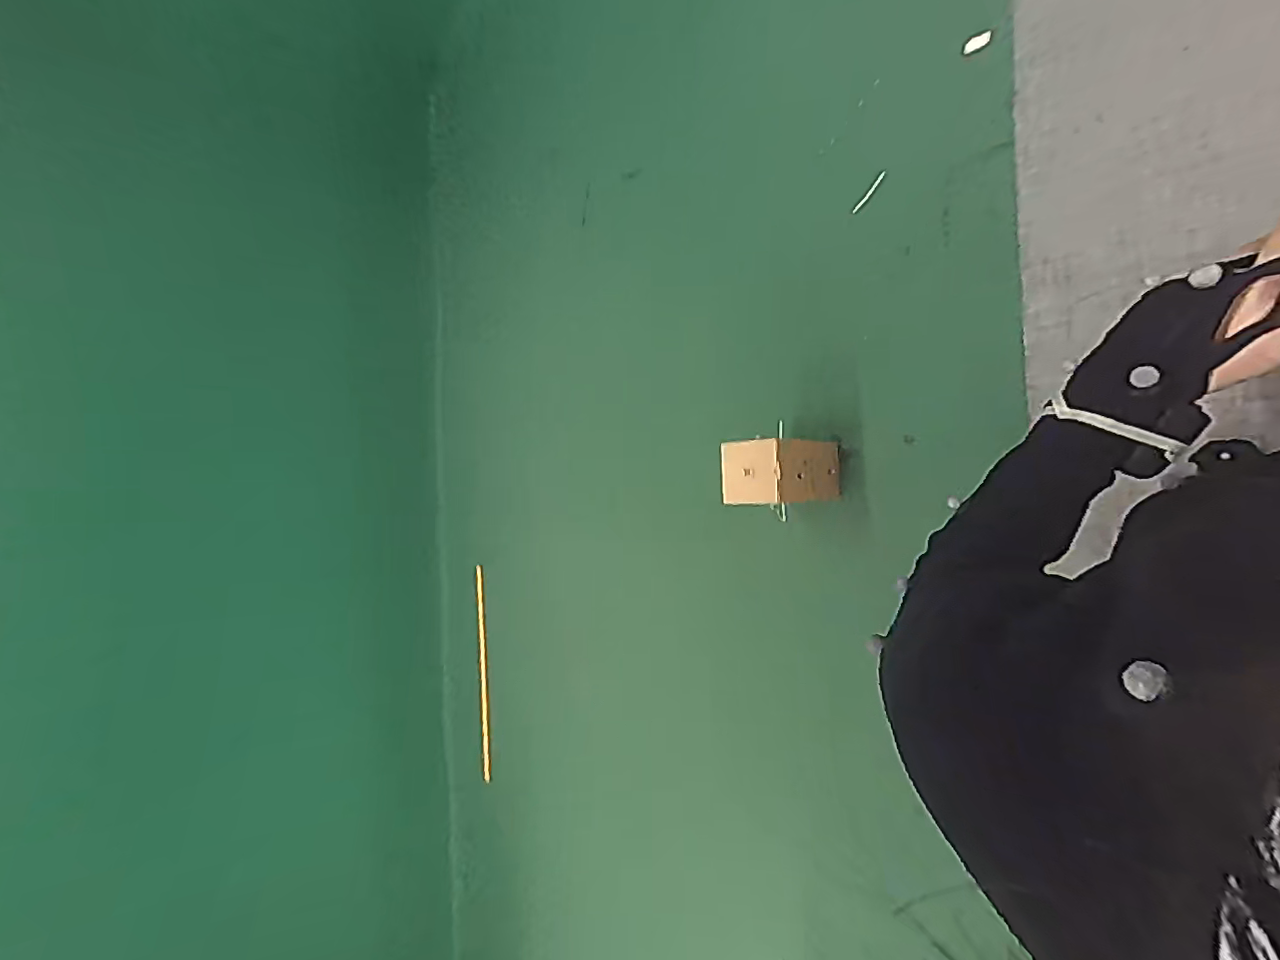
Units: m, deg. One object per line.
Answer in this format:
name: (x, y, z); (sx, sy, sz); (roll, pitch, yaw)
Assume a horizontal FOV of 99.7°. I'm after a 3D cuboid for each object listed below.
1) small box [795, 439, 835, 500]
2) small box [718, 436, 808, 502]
small box: (0.446, -0.029, 1.569); (0.179, 0.176, 0.168); (-2, 91, 45)
small box: (0.330, -0.026, 1.456); (0.179, 0.176, 0.168); (-4, 89, 45)
